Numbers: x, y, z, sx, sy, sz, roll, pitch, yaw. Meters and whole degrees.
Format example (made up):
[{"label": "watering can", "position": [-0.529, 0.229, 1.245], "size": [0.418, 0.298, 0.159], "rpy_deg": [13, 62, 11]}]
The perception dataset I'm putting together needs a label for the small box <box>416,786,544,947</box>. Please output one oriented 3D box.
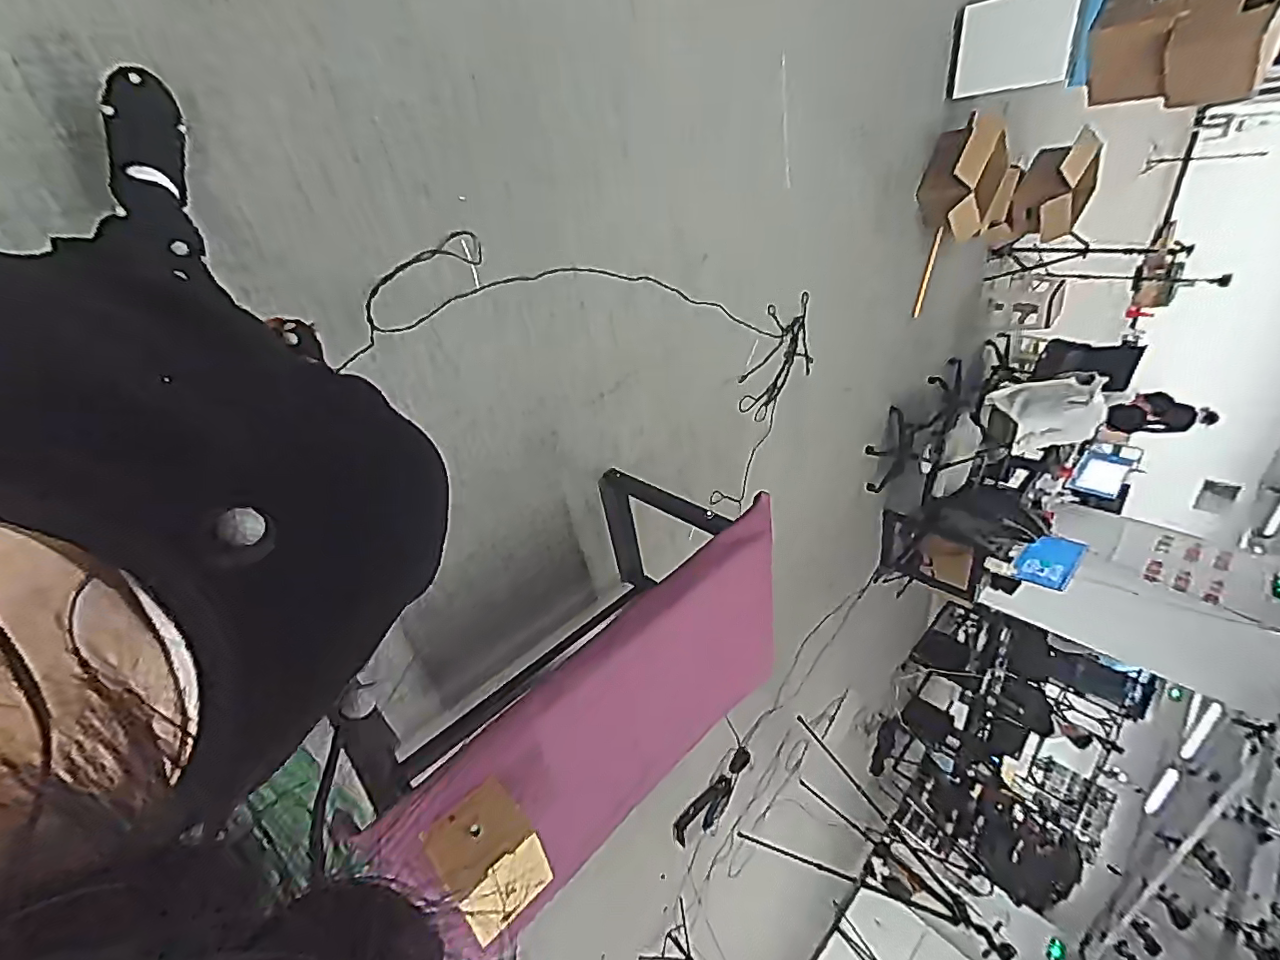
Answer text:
[{"label": "small box", "position": [-0.319, 0.753, 1.076], "size": [0.168, 0.176, 0.179], "rpy_deg": [-29, 125, -34]}]
